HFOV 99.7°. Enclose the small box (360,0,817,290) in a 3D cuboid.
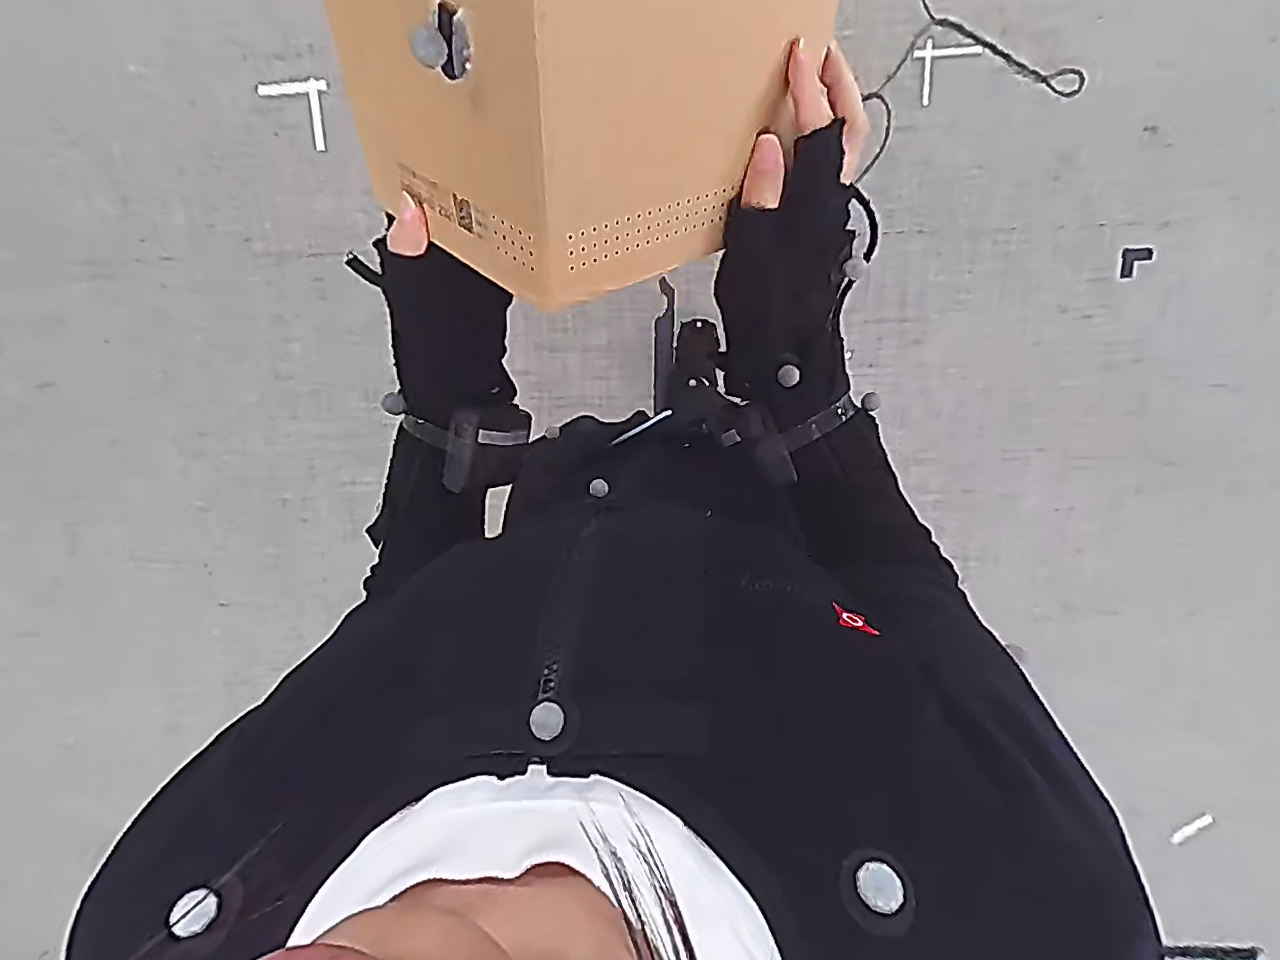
[{"bbox_3d":[-0.024,-0.219,0.274,0.168,0.179,0.176,40,145,29],"label":"small box"}]
